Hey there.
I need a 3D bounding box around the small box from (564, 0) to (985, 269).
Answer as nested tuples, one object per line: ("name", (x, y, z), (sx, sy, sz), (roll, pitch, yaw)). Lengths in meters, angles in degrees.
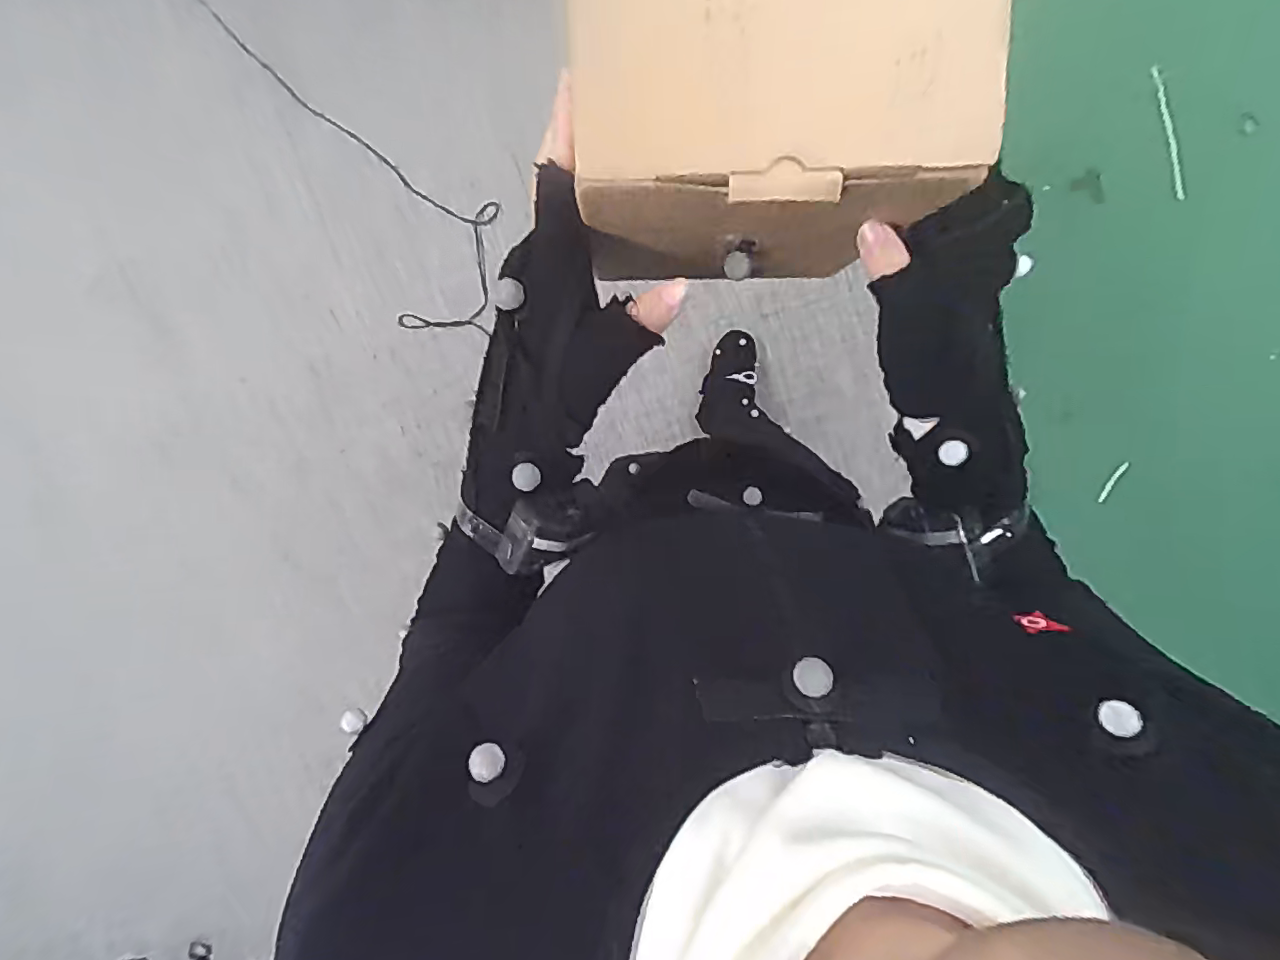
("small box", (0.051, -0.216, 0.285), (0.168, 0.176, 0.179), (-2, 99, -1))
